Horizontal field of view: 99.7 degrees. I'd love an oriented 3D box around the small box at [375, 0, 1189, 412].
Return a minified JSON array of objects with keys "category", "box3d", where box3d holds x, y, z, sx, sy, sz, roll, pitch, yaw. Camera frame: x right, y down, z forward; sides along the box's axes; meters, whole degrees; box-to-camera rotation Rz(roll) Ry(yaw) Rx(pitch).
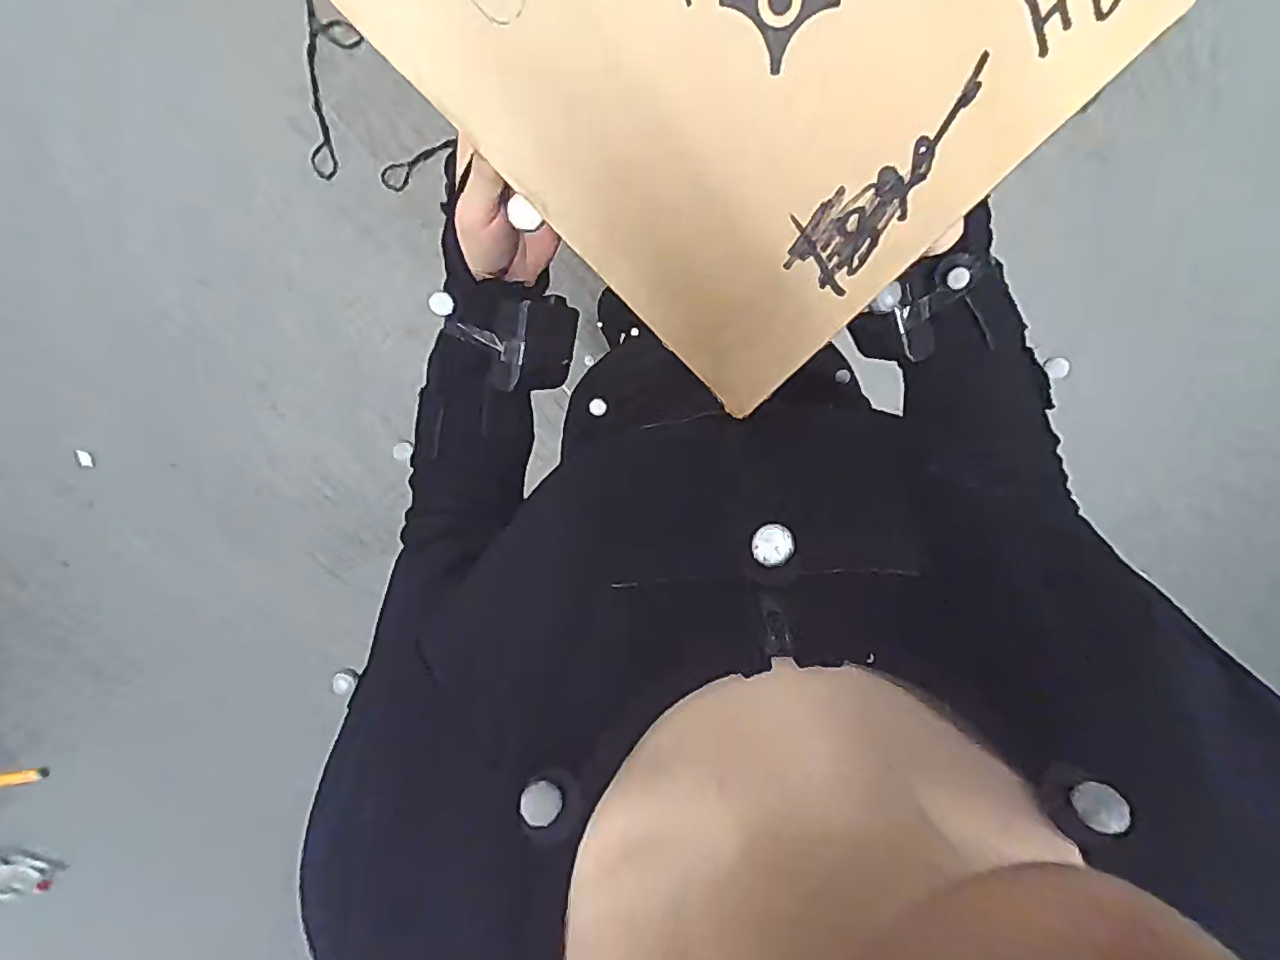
[{"category":"small box","box3d":[0.038,-0.160,0.224,0.168,0.176,0.179,-43,108,15]}]
